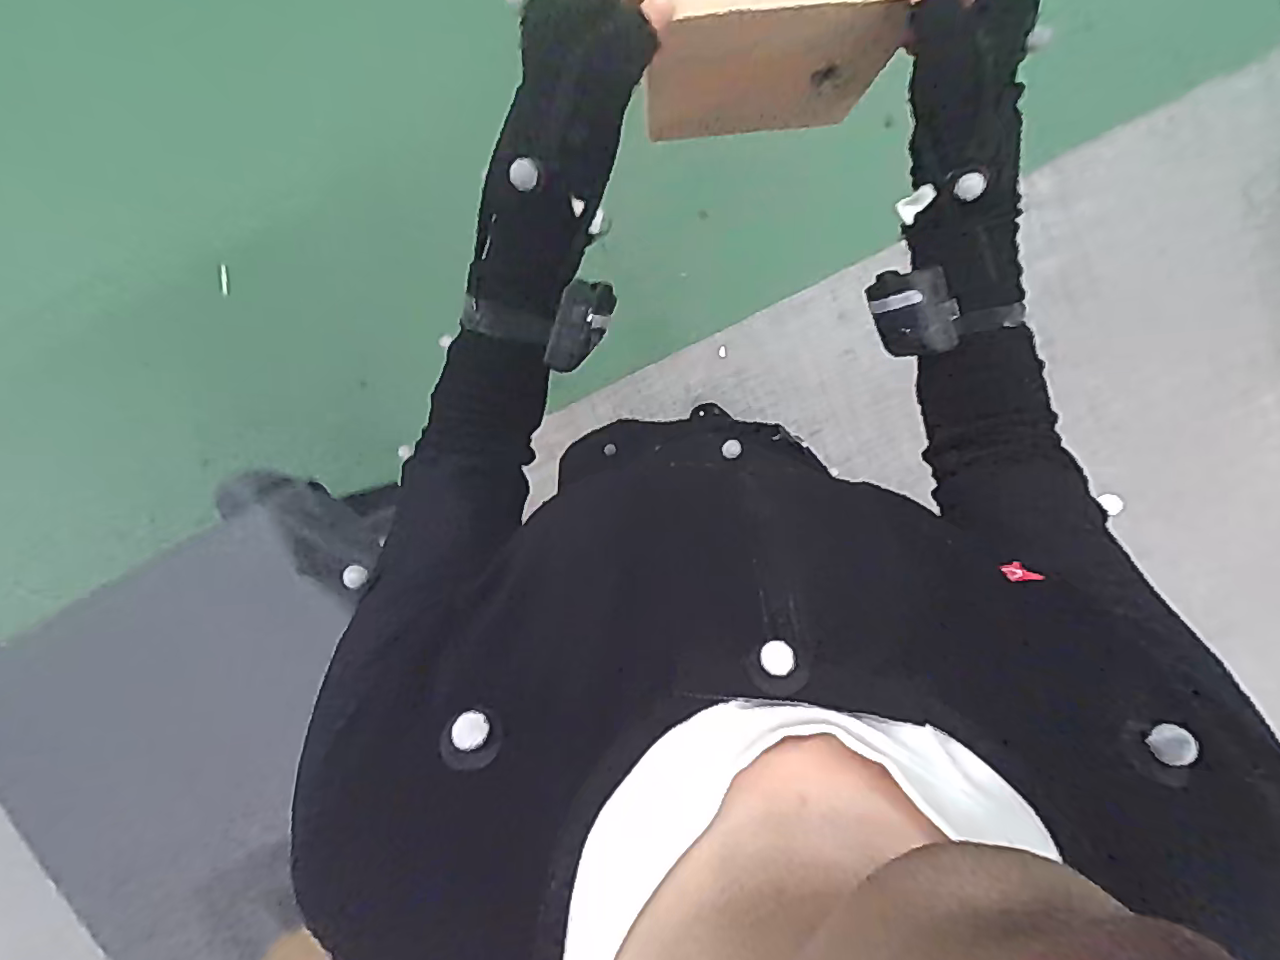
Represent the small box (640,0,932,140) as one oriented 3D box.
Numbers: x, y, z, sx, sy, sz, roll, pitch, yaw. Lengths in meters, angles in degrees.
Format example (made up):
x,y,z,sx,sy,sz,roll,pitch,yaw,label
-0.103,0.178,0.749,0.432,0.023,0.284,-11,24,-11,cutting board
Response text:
x,y,z,sx,sy,sz,roll,pitch,yaw,label
0.088,-0.377,0.392,0.179,0.176,0.168,-5,99,3,small box
